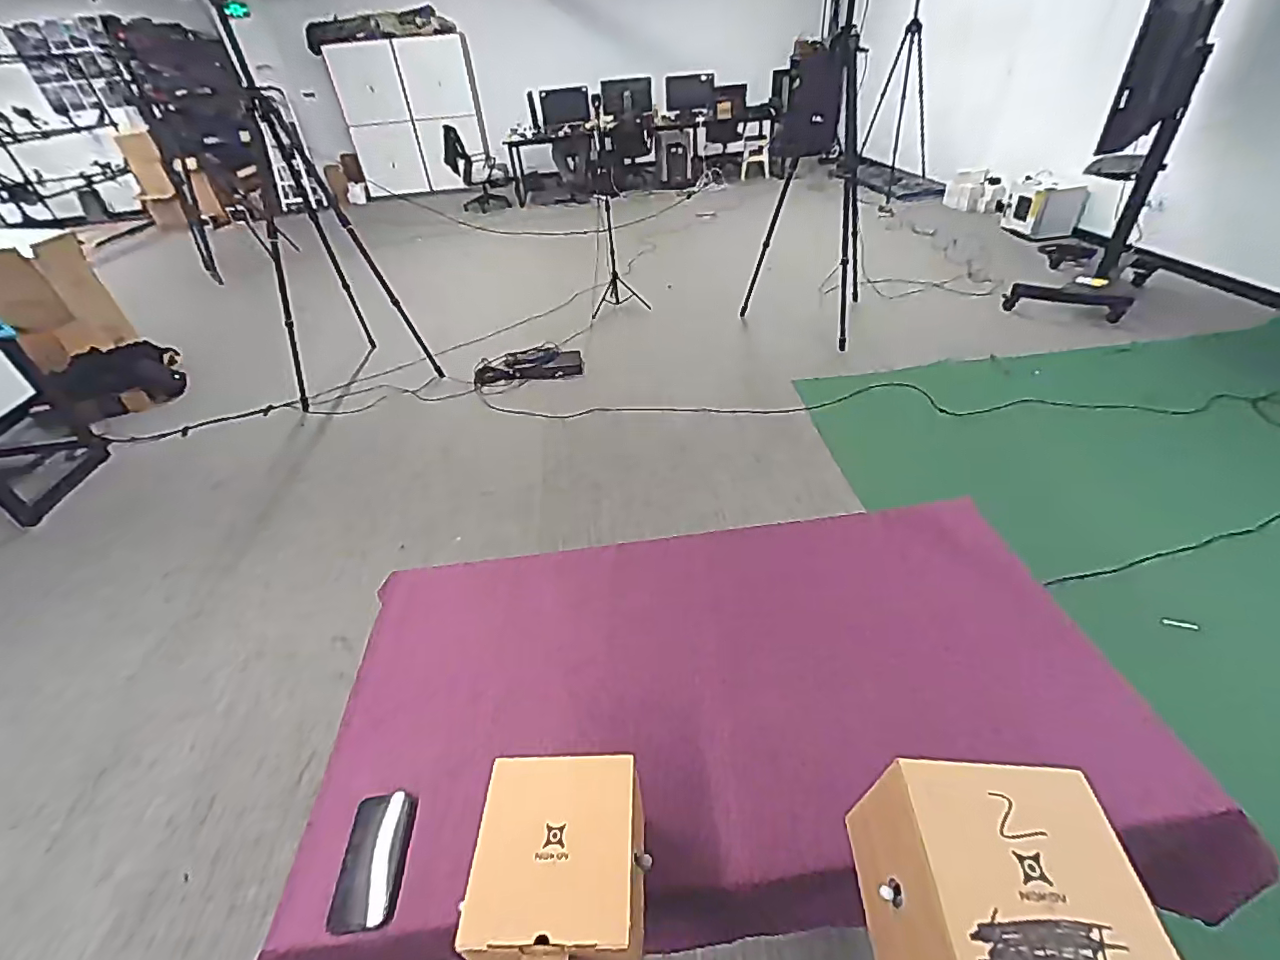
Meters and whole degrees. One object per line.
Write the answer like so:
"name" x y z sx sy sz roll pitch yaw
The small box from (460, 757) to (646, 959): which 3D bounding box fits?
"small box" -0.081 0.440 0.610 0.168 0.176 0.179 -2 38 3
